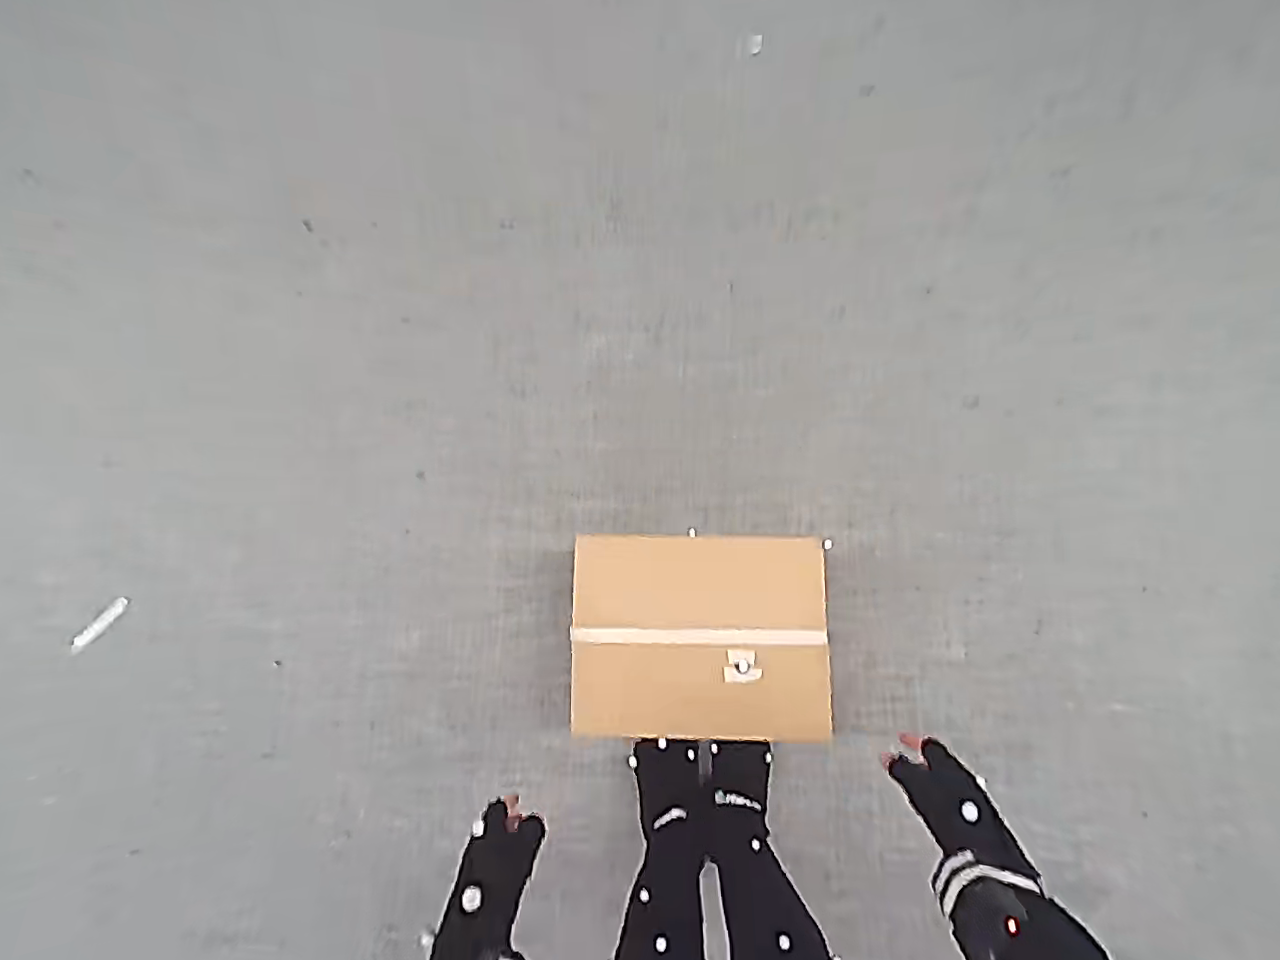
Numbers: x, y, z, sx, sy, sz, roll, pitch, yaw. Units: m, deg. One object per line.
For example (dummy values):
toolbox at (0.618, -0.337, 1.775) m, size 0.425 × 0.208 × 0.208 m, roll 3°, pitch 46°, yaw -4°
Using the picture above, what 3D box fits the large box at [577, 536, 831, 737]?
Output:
large box at (0.100, 0.272, 1.012) m, size 0.408 × 0.320 × 0.320 m, roll 0°, pitch 82°, yaw 2°
